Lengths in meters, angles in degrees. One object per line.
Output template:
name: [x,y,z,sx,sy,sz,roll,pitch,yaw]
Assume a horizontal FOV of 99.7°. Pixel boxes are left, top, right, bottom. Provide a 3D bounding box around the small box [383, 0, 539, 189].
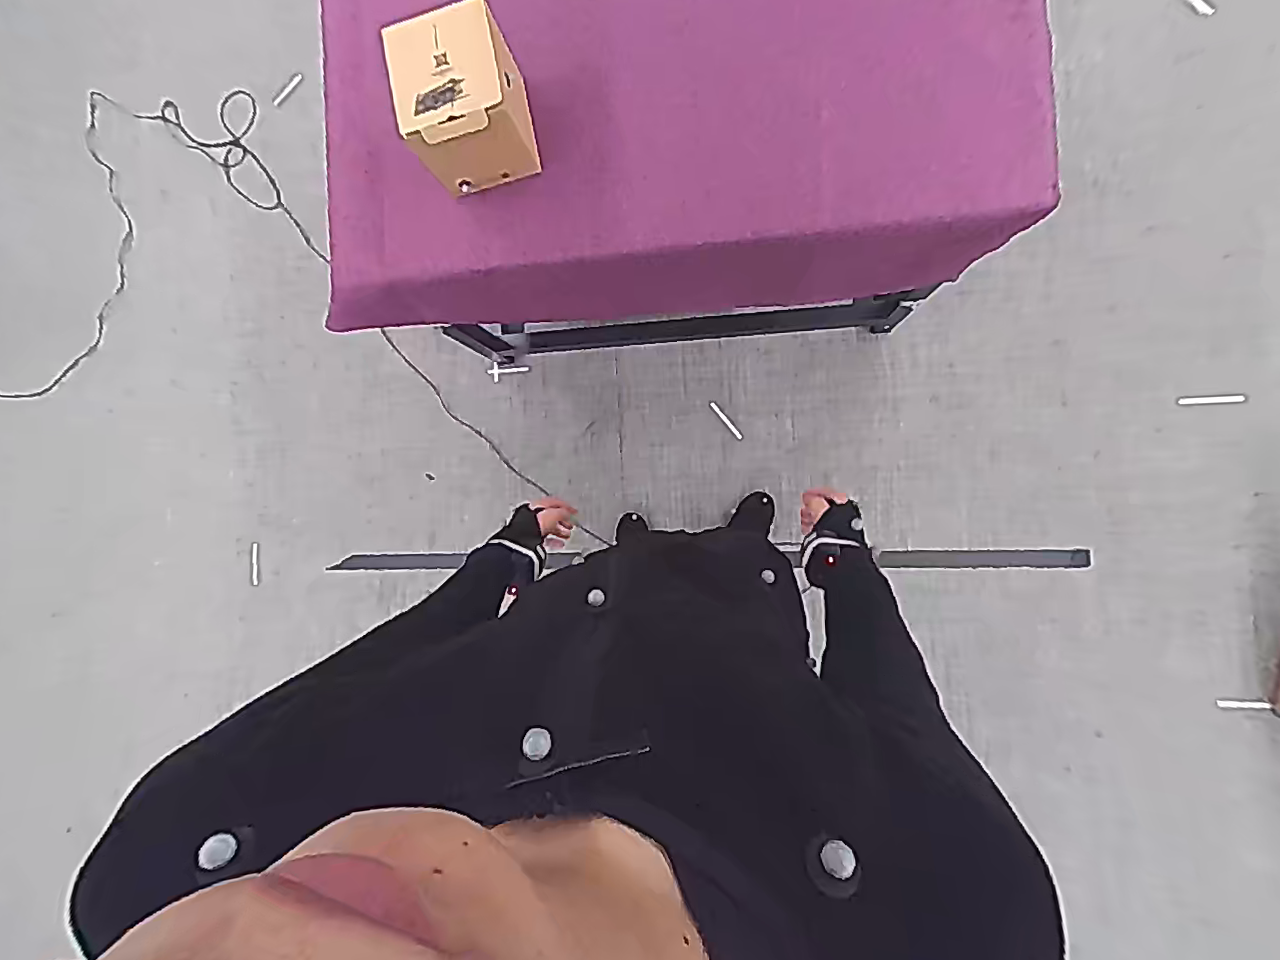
small box: [-0.274,-0.598,0.864,0.168,0.176,0.179,-12,86,7]
